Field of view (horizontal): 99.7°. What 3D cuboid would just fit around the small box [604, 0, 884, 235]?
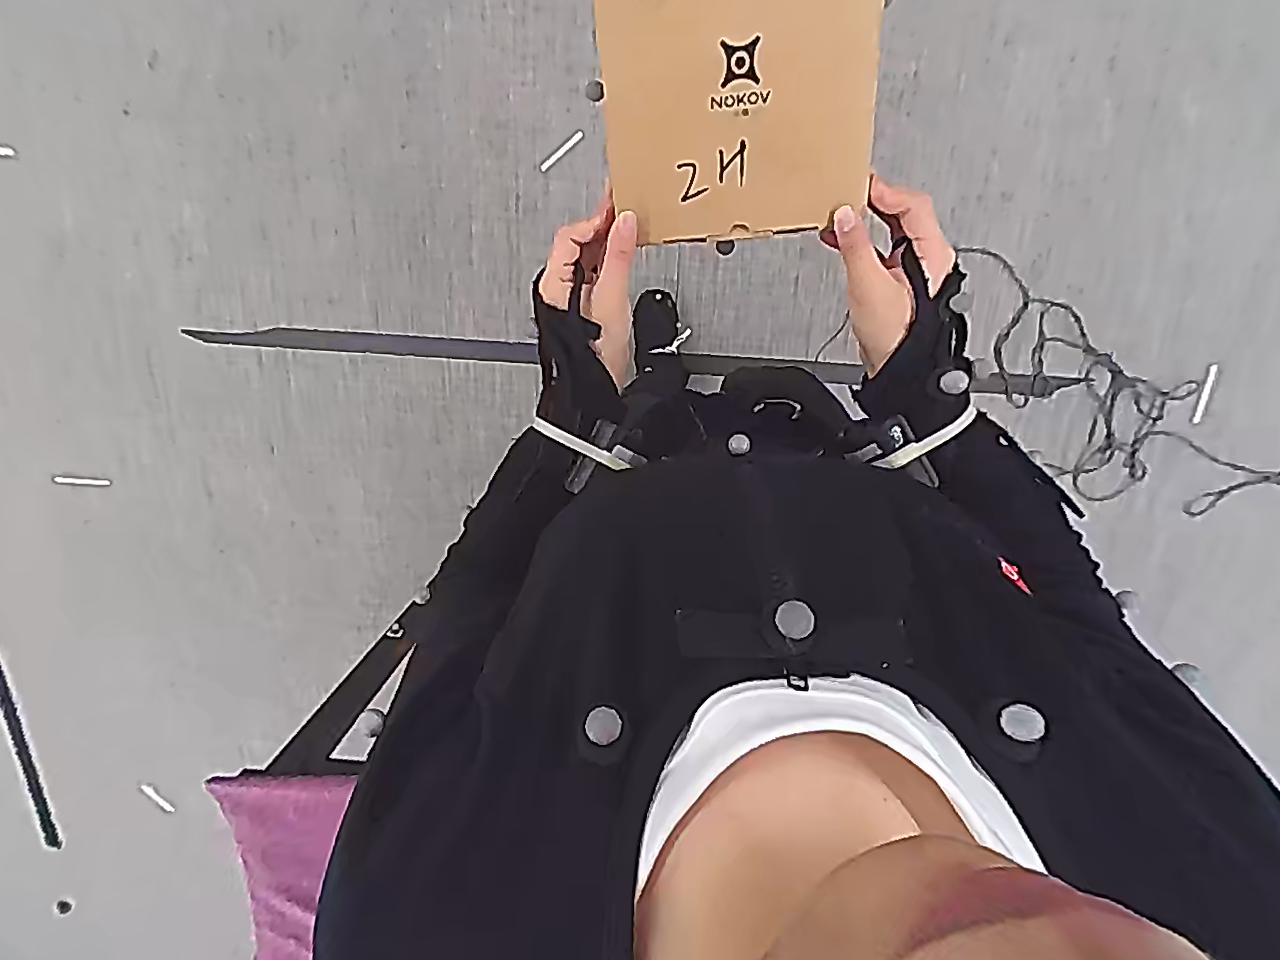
[{"bbox_3d":[0.066,-0.282,0.402,0.168,0.176,0.179,-2,115,5],"label":"small box"}]
